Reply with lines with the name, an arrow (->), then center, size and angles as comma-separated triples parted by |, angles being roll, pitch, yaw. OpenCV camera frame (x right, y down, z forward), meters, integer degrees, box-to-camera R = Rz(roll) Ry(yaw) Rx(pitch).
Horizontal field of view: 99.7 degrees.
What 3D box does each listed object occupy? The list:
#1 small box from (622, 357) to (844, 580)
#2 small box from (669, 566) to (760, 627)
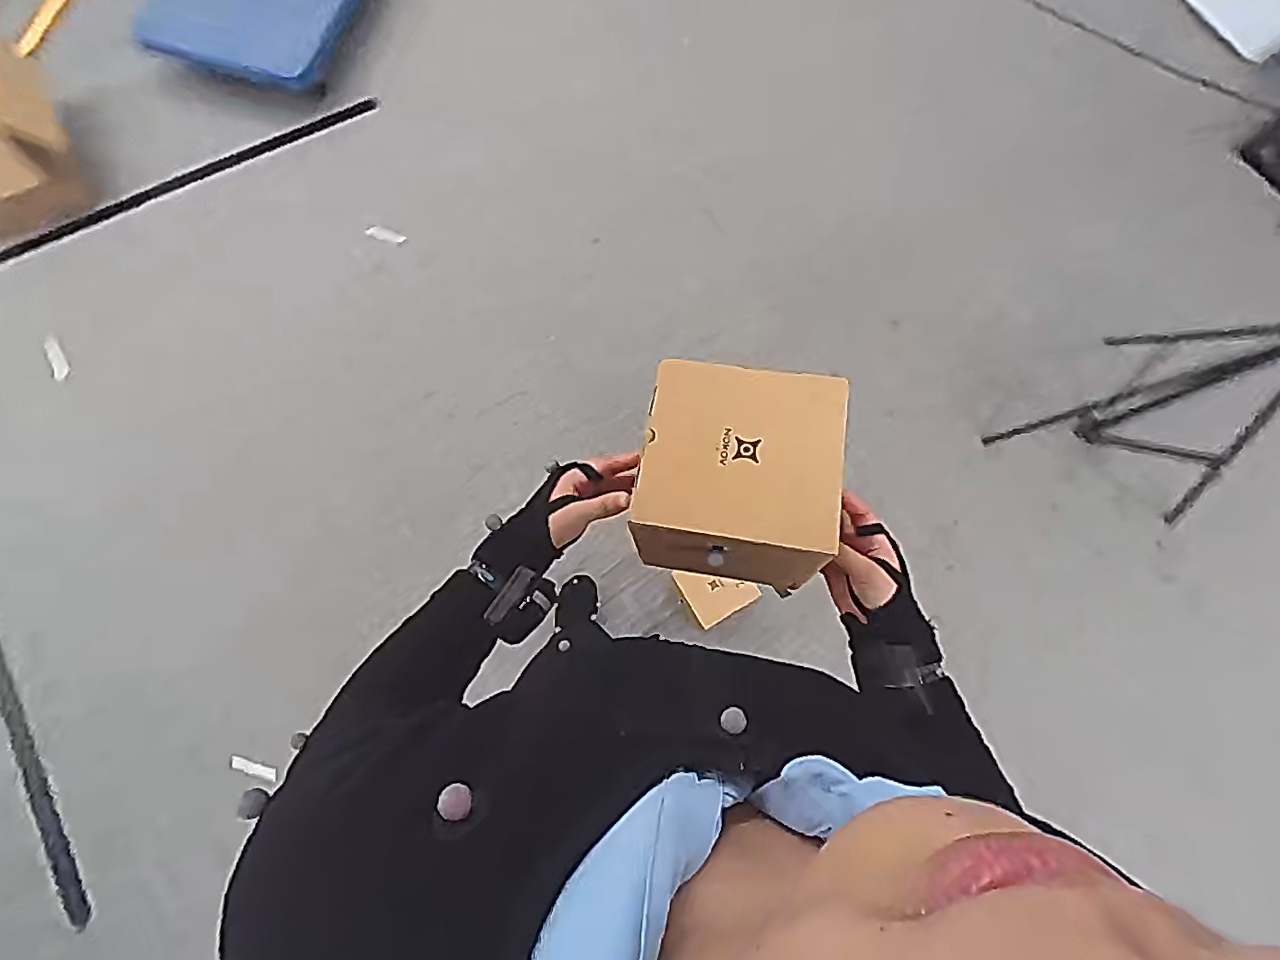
small box -> 0.090, -0.001, 0.541 | 0.179, 0.176, 0.168 | 7, 71, 9
small box -> 0.188, 0.280, 1.442 | 0.179, 0.176, 0.168 | -29, 78, -10
